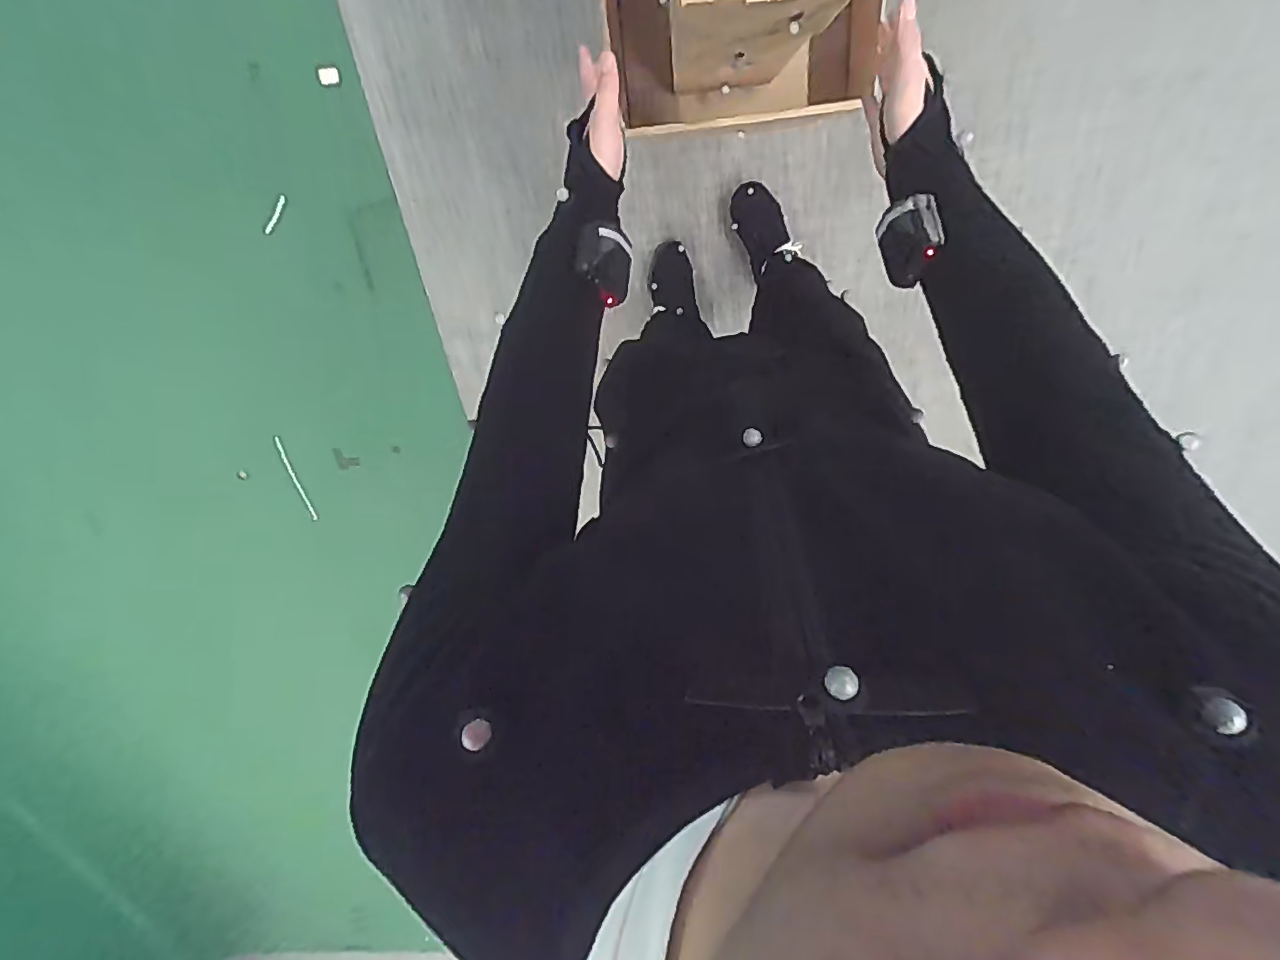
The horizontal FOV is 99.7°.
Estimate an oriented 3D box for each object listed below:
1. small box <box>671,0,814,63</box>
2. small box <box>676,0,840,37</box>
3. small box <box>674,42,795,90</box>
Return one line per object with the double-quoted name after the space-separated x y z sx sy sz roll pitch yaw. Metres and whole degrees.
0.120 -0.621 0.644 0.168 0.176 0.179 -3 118 5 "small box"
0.115 -0.539 0.502 0.168 0.176 0.179 -2 118 4 "small box"
0.131 -0.697 0.787 0.168 0.176 0.179 -3 117 6 "small box"
